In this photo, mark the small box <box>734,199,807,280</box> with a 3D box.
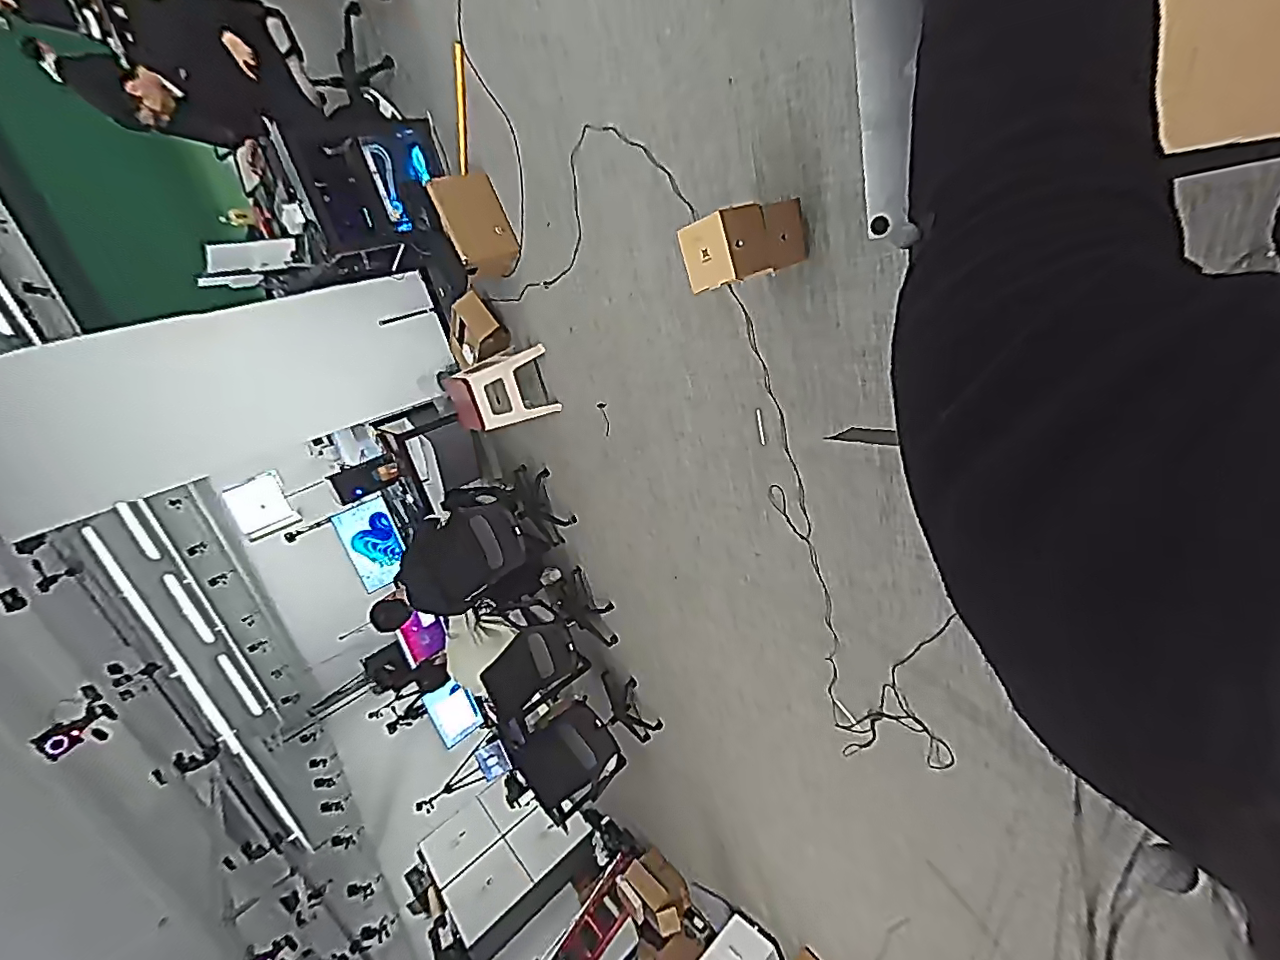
[{"bbox_3d":[0.363,-0.704,1.577,0.168,0.176,0.179,7,121,52],"label":"small box"}]

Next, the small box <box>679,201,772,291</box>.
[{"bbox_3d":[0.240,-0.643,1.488,0.168,0.176,0.179,3,116,53],"label":"small box"}]
